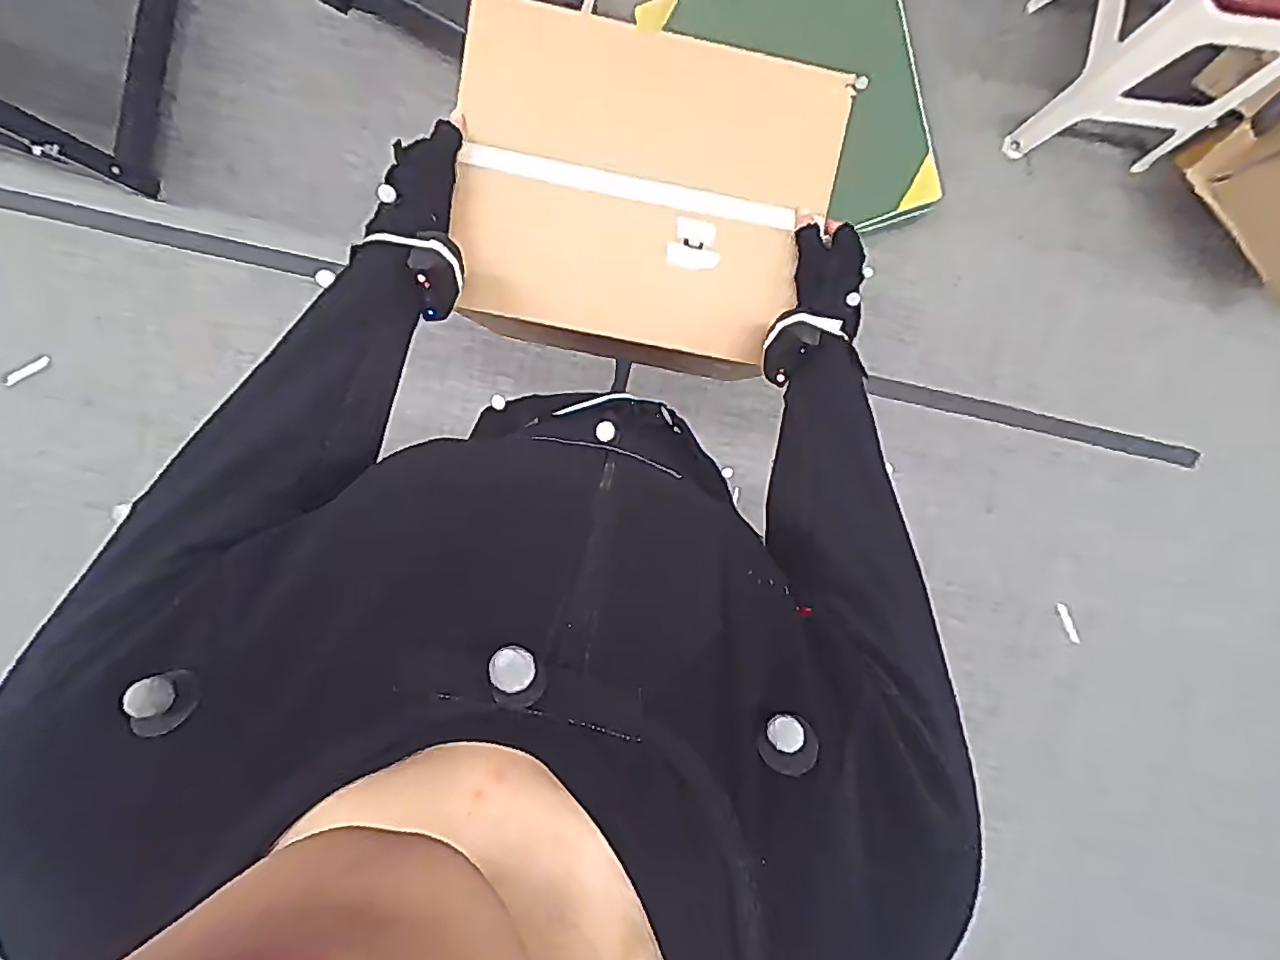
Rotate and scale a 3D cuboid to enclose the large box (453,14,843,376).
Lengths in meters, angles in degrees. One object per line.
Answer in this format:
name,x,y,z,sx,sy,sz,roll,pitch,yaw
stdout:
large box,-0.003,-0.335,0.749,0.408,0.320,0.320,10,99,-4
